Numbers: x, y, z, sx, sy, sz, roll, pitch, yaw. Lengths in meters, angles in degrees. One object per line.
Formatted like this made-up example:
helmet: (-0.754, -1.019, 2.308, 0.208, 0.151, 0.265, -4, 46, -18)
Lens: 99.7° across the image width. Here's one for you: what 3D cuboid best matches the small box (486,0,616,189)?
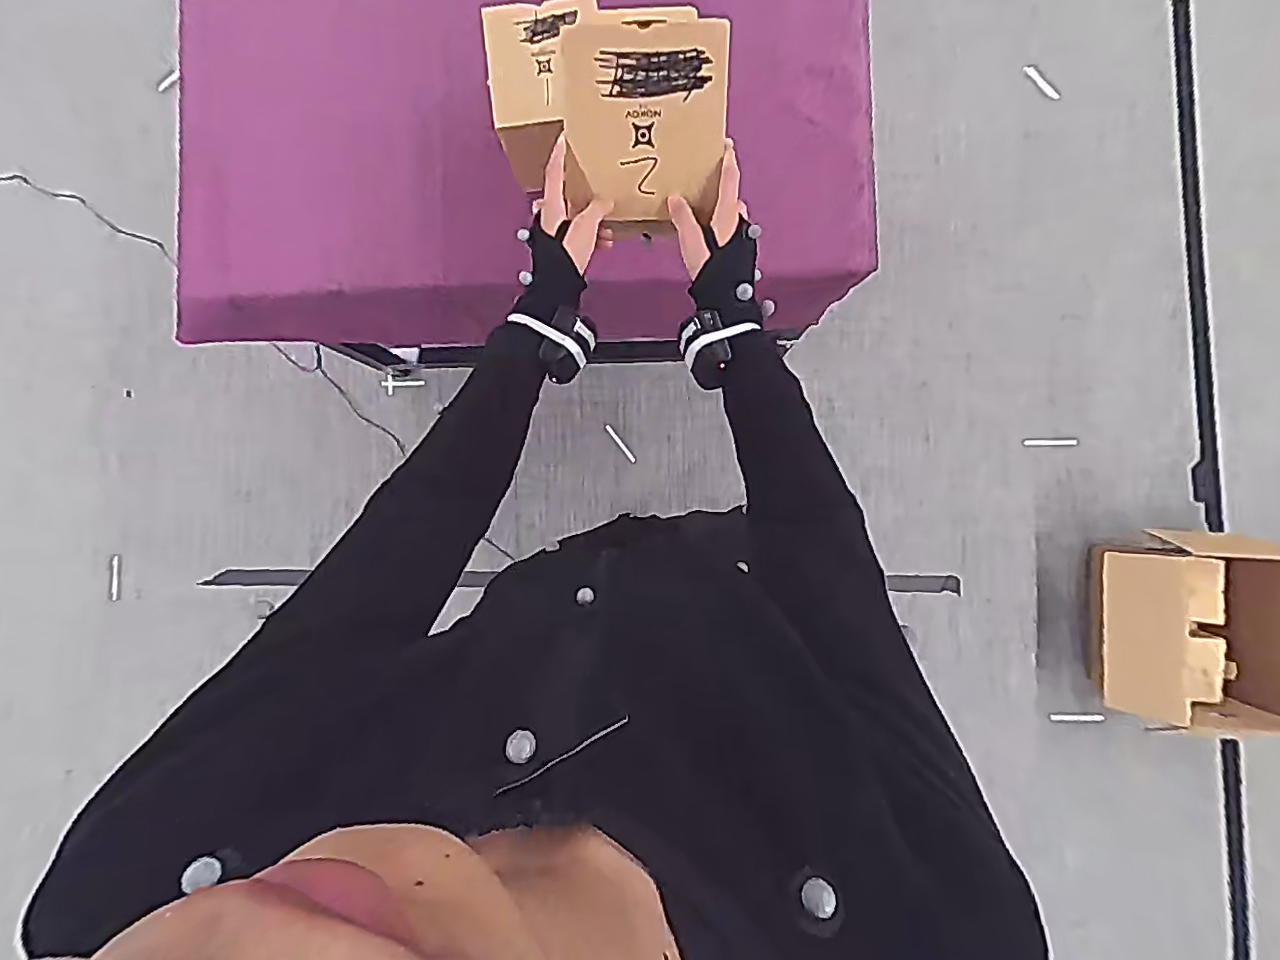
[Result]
small box: (-0.131, -0.595, 0.851, 0.168, 0.176, 0.179, -6, 89, 2)
